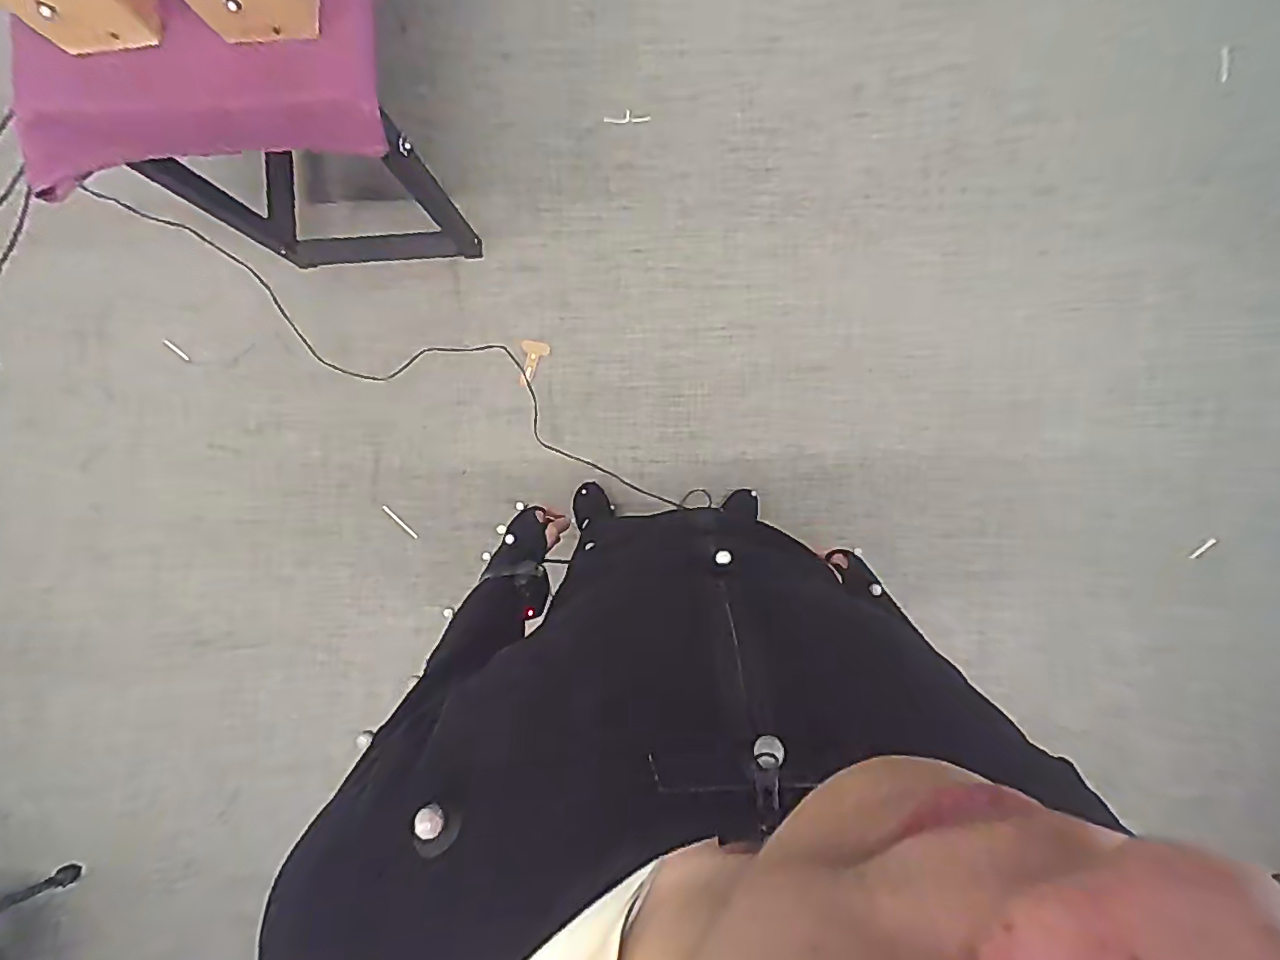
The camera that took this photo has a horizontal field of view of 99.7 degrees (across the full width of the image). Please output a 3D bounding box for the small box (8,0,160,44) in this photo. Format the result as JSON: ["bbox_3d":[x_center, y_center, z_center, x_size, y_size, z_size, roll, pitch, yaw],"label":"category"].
[{"bbox_3d":[-0.907,-0.830,0.849,0.168,0.176,0.179,-5,90,2],"label":"small box"}]

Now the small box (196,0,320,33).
[{"bbox_3d":[-0.622,-0.836,0.835,0.168,0.176,0.179,0,90,3],"label":"small box"}]
